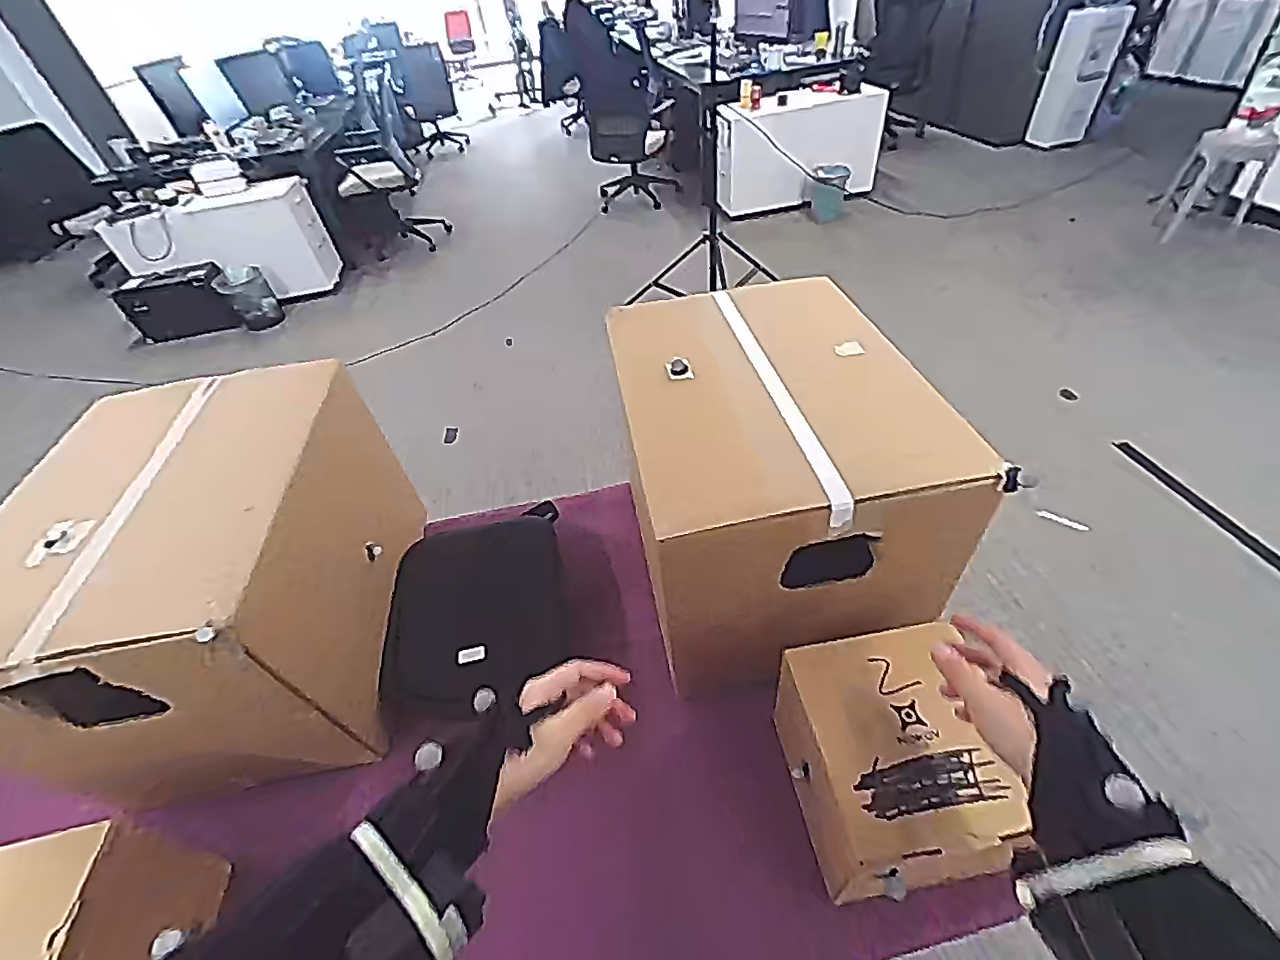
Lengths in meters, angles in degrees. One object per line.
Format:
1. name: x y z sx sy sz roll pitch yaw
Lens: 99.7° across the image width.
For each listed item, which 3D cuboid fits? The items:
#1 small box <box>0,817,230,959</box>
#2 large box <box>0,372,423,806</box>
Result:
1. small box: -0.519 0.430 0.470 0.179 0.176 0.168 -13 43 -5
2. large box: -0.495 0.124 0.681 0.320 0.320 0.408 -11 47 -2
